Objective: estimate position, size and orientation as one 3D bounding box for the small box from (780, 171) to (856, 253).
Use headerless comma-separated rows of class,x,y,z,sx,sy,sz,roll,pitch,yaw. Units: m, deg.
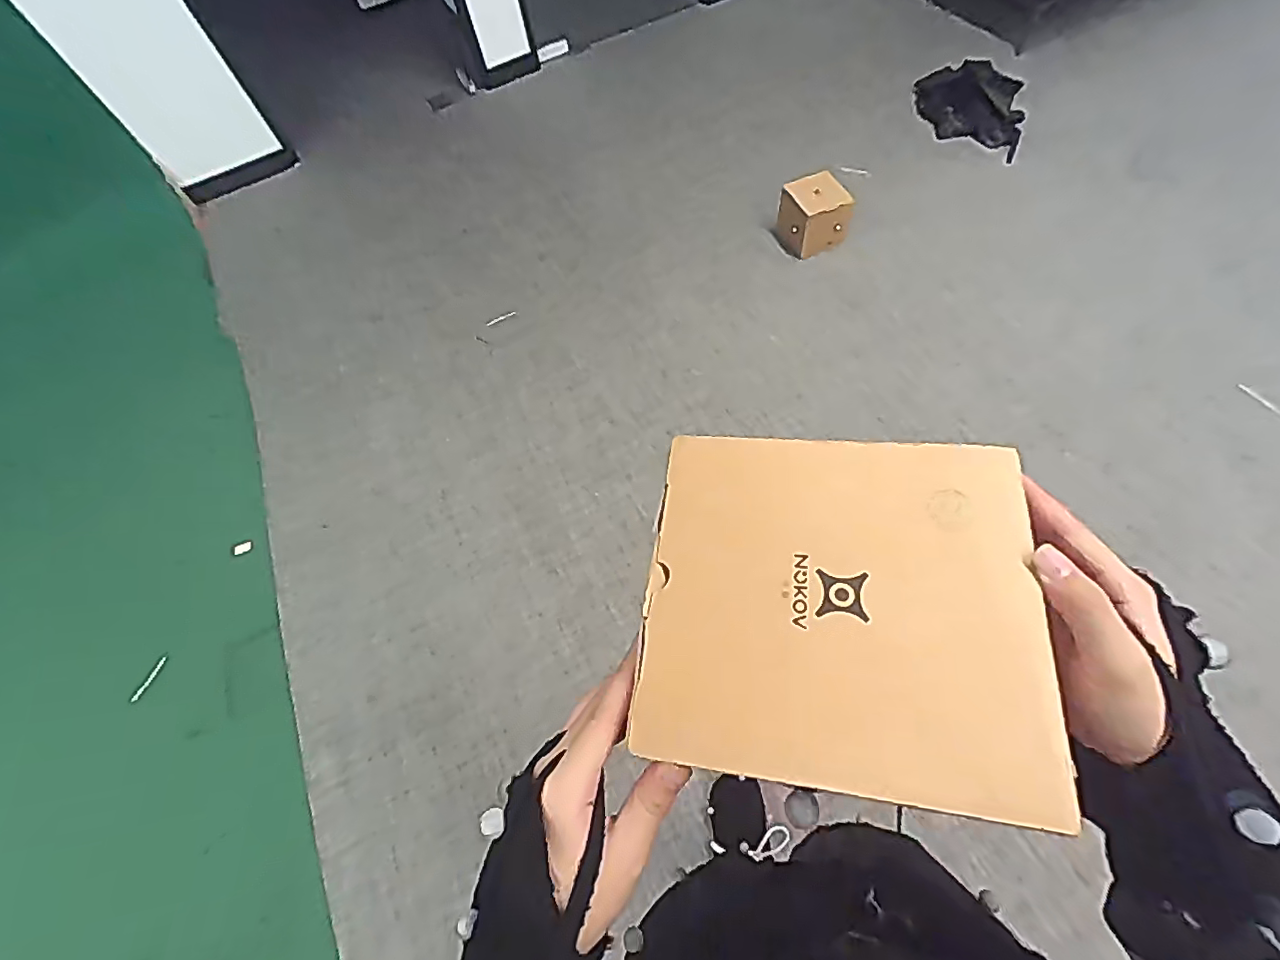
small box,0.583,-0.881,1.797,0.168,0.176,0.179,-20,61,-6
